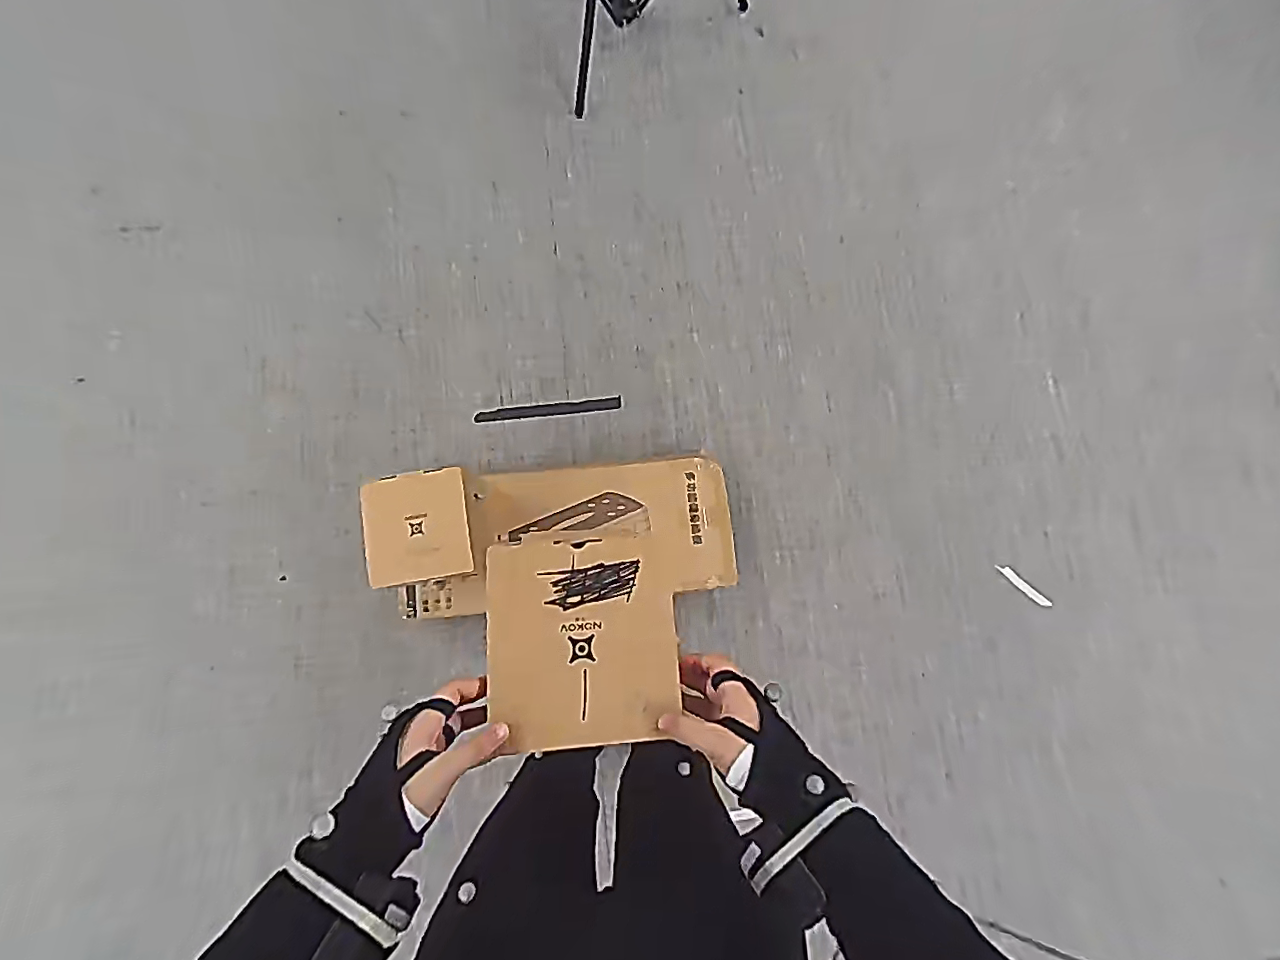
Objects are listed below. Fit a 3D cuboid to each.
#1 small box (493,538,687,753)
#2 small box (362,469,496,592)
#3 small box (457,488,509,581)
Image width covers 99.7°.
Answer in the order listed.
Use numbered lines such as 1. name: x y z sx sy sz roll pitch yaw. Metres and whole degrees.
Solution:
1. small box: -0.052 0.163 0.552 0.168 0.176 0.179 -3 74 -5
2. small box: -0.359 0.091 0.942 0.168 0.176 0.179 -10 83 -5
3. small box: -0.364 0.114 1.104 0.168 0.176 0.179 -4 82 -4
